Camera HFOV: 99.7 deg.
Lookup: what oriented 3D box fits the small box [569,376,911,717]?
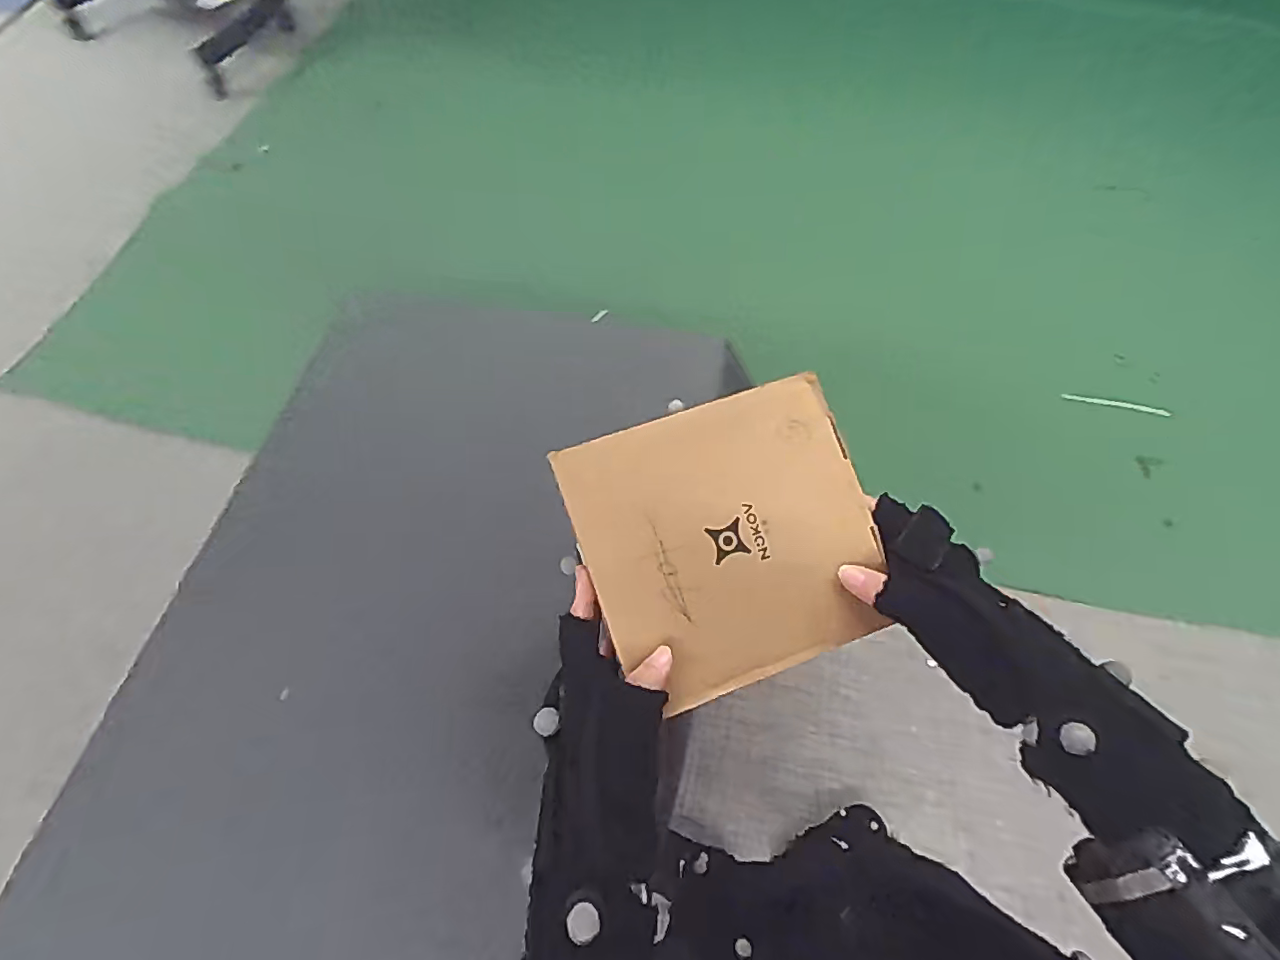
[{"bbox_3d":[0.054,0.043,0.405,0.179,0.176,0.168,-19,86,-7],"label":"small box"}]
